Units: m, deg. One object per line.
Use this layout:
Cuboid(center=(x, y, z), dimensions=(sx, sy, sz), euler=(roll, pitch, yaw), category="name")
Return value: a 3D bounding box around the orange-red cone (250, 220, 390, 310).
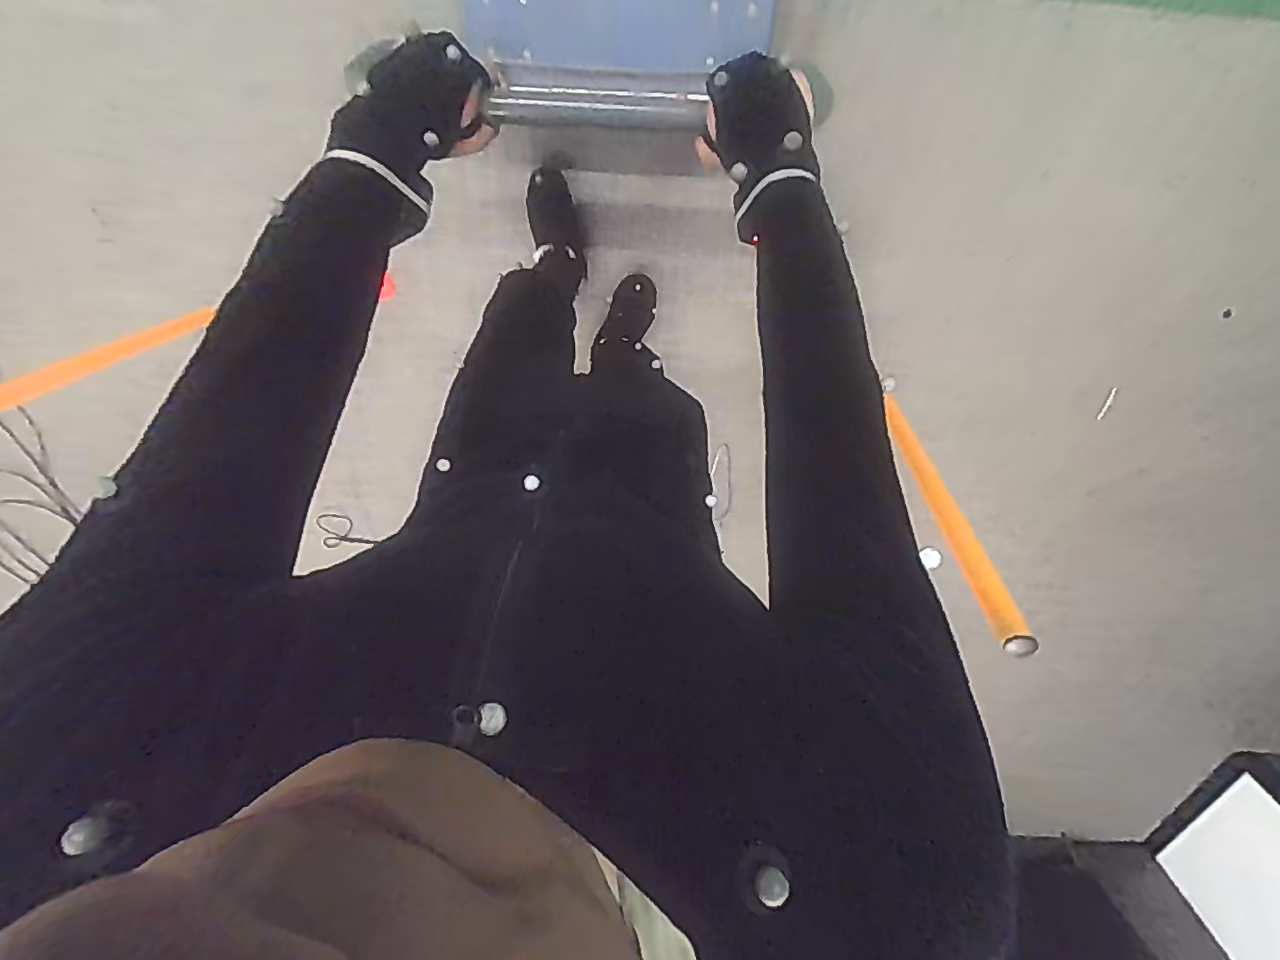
Cuboid(center=(-0.764, -0.459, 1.237), dimensions=(0.199, 0.360, 0.198), euler=(-9, 120, 7), category="orange-red cone")
